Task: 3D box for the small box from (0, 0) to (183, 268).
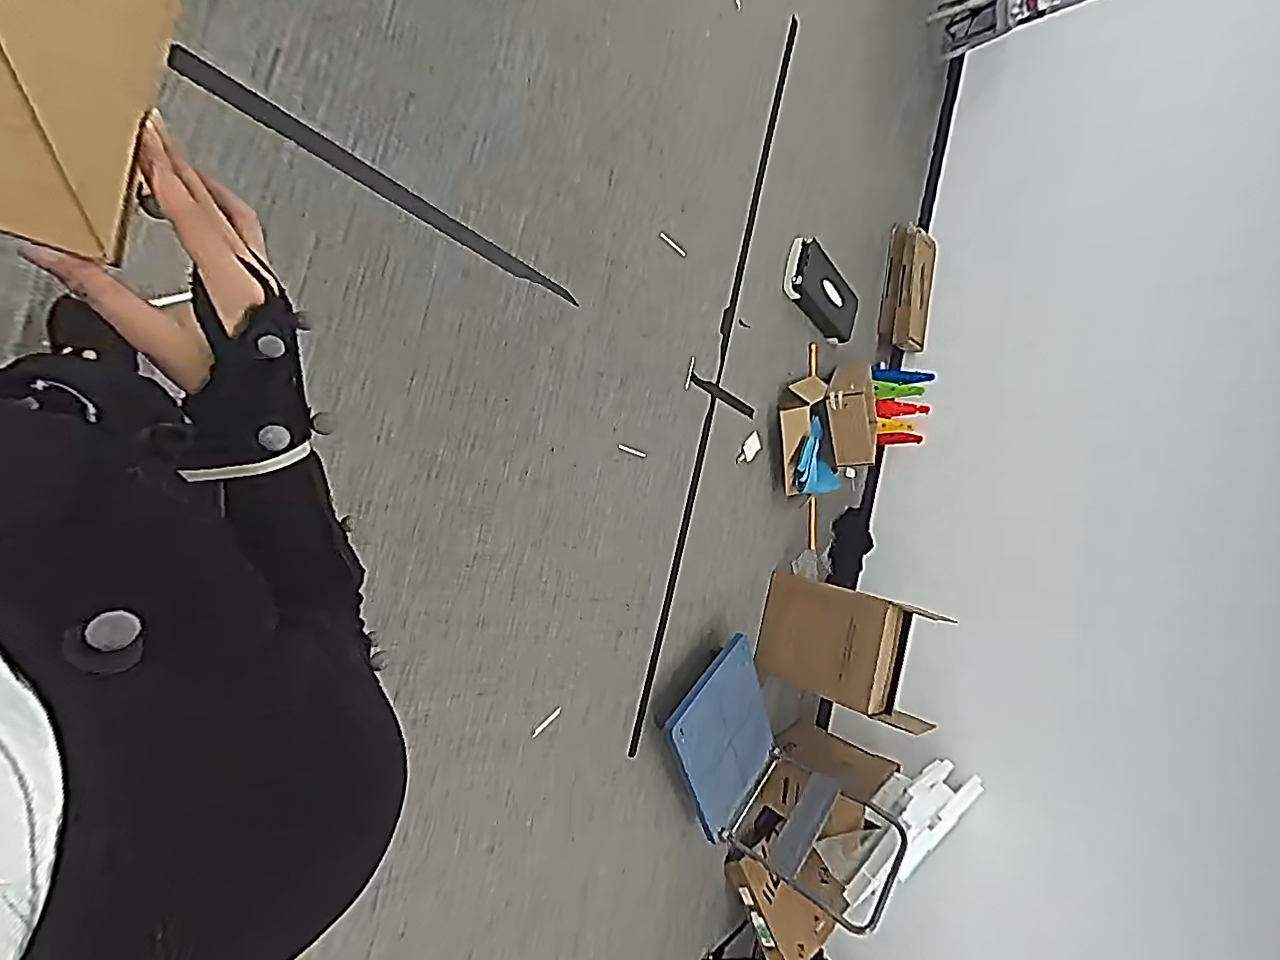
[{"bbox_3d":[-0.340,-0.220,0.258,0.168,0.176,0.179,12,97,-45],"label":"small box"}]
